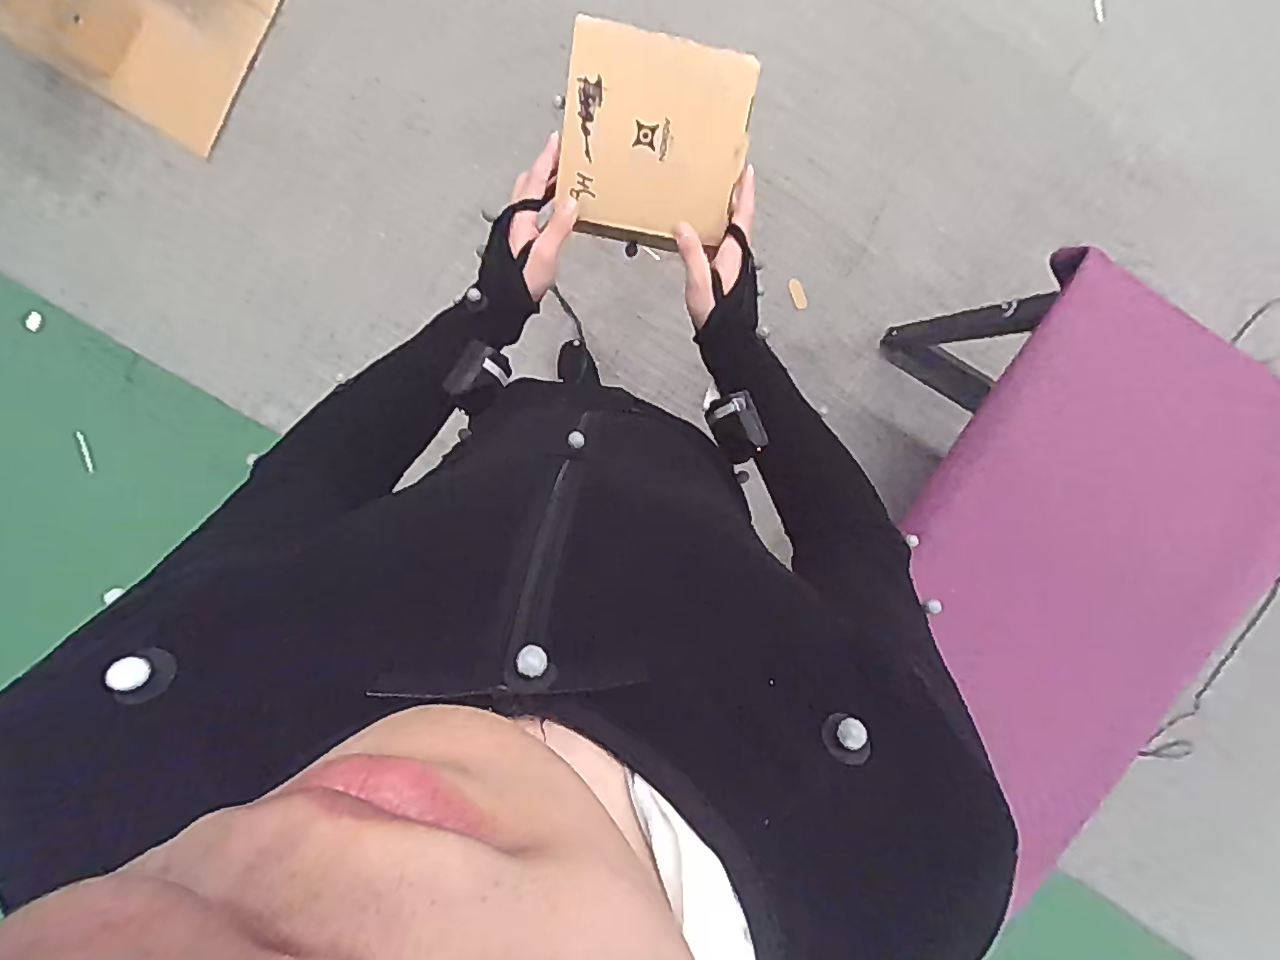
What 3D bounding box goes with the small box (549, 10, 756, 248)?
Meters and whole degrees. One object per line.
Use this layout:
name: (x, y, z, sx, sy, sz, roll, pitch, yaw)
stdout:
small box: (0.003, -0.357, 0.591, 0.179, 0.176, 0.168, 8, 109, -7)
